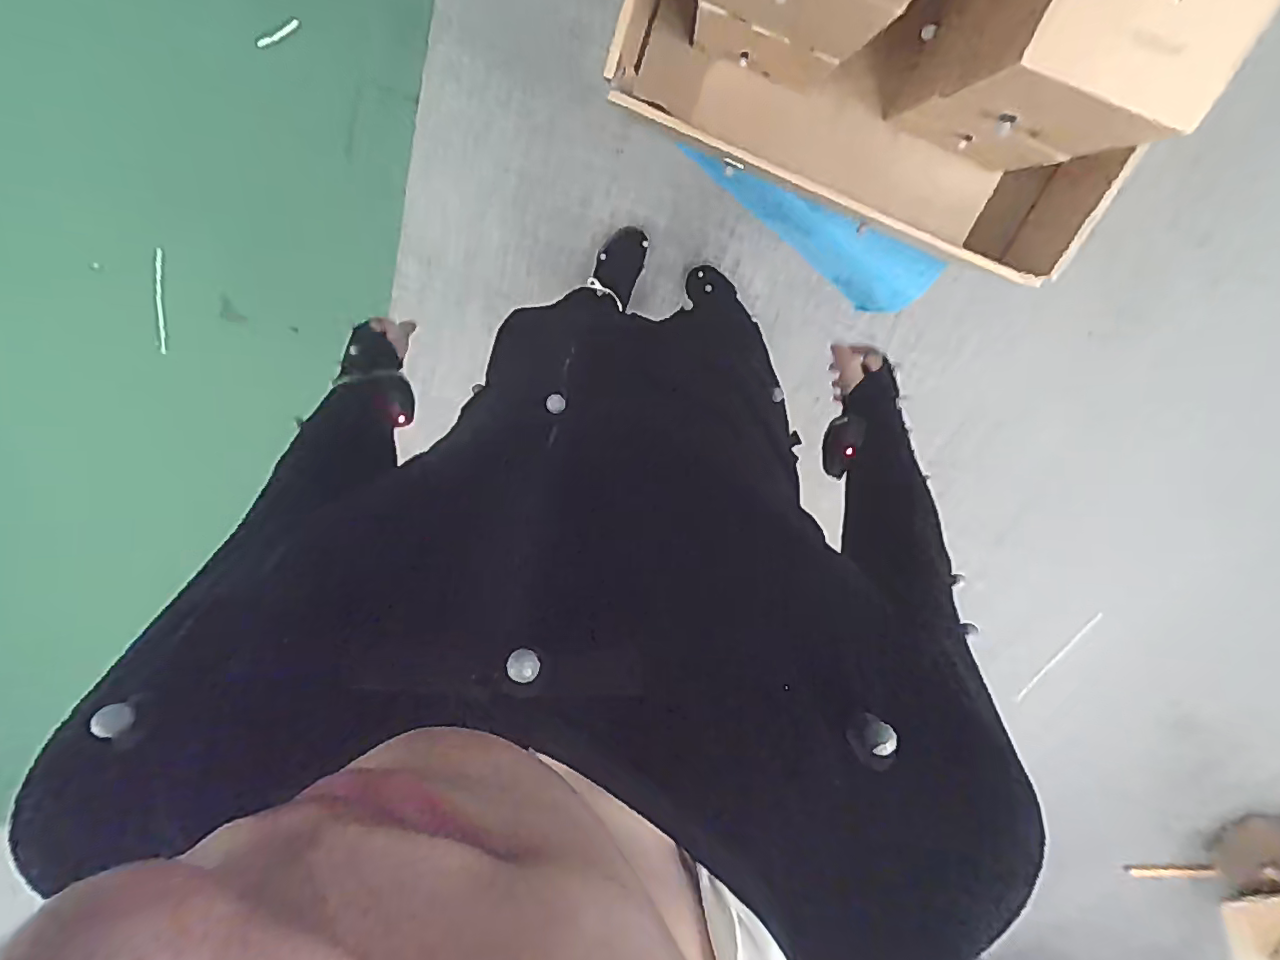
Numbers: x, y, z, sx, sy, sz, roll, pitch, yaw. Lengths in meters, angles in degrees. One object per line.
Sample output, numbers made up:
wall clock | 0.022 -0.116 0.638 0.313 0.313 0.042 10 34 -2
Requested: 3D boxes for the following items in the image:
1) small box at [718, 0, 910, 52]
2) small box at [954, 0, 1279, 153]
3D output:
small box | 0.164 -0.508 0.462 0.179 0.176 0.168 18 116 -7
small box | 0.427 -0.425 0.485 0.168 0.176 0.179 20 116 -4
